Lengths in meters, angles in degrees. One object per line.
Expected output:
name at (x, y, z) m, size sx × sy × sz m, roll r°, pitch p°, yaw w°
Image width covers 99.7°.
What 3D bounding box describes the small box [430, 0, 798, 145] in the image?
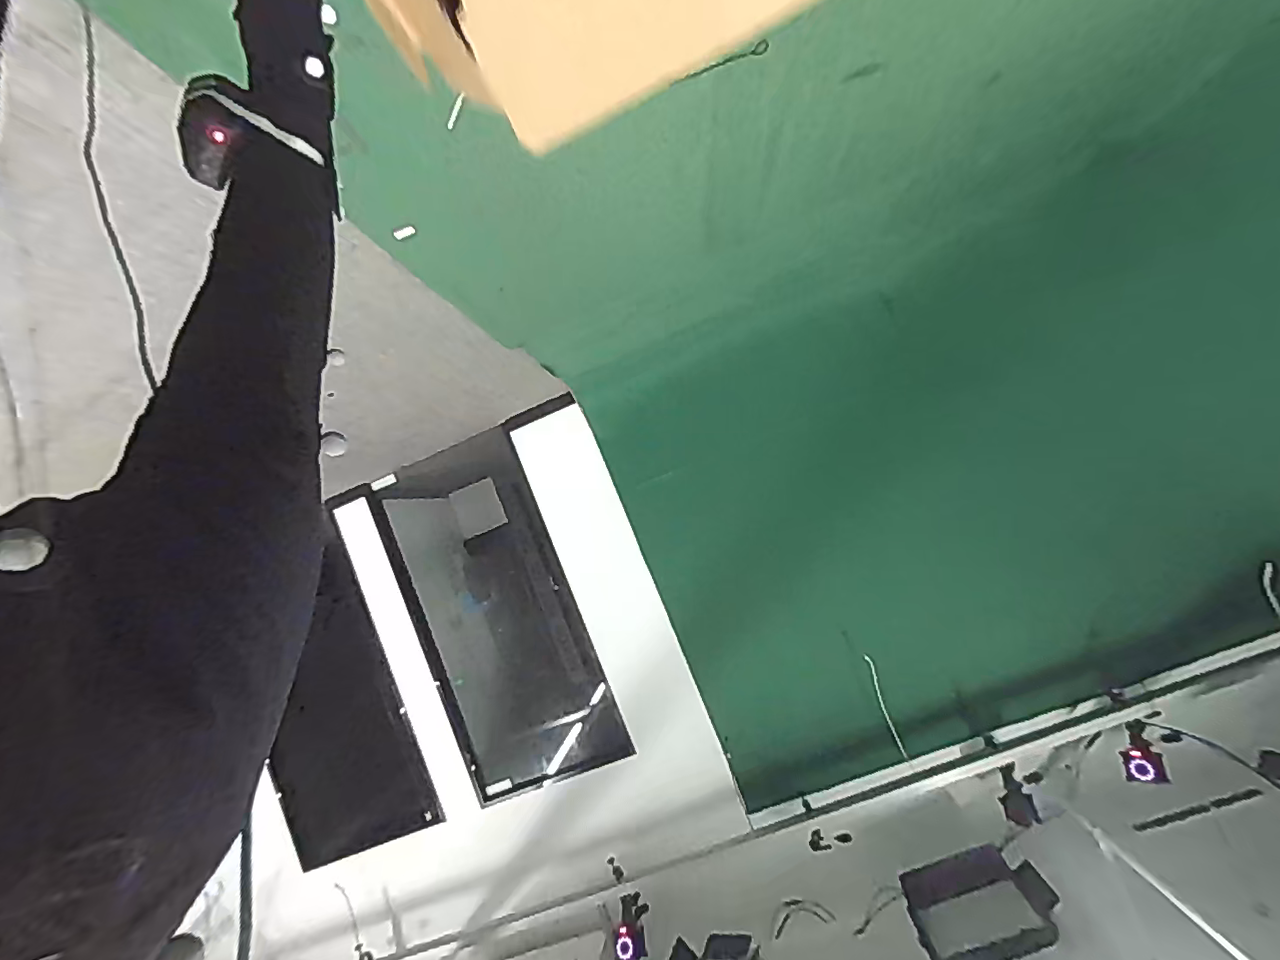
small box at (-0.025, -0.271, 0.178) m, size 0.179 × 0.176 × 0.168 m, roll -23°, pitch 177°, yaw 7°
